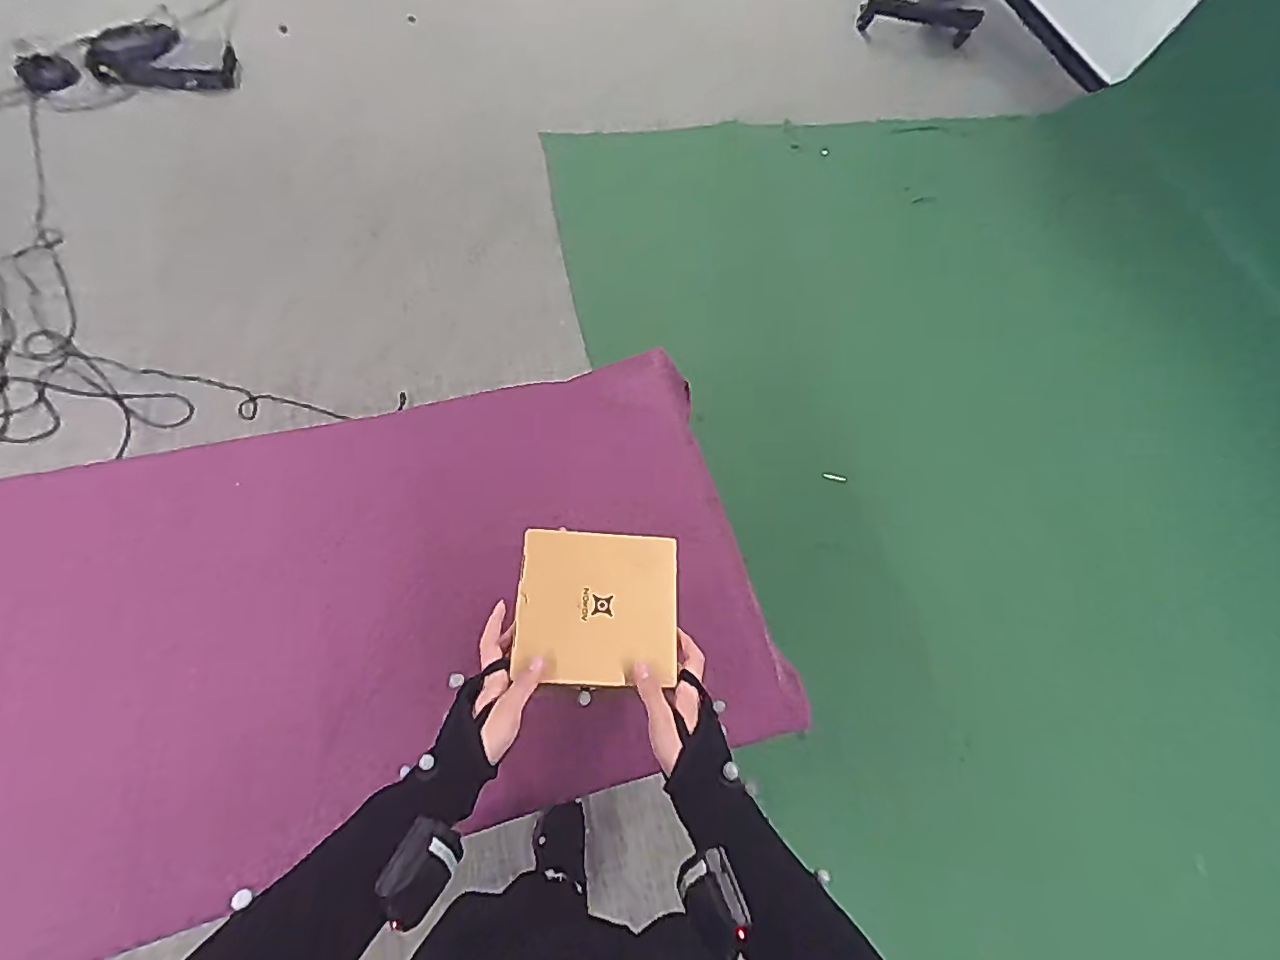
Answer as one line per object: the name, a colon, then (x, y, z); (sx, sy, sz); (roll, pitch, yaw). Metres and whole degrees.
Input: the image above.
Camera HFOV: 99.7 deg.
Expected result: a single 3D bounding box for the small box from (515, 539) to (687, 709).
small box: (-0.045, 0.181, 0.654); (0.179, 0.176, 0.168); (5, 64, -5)
